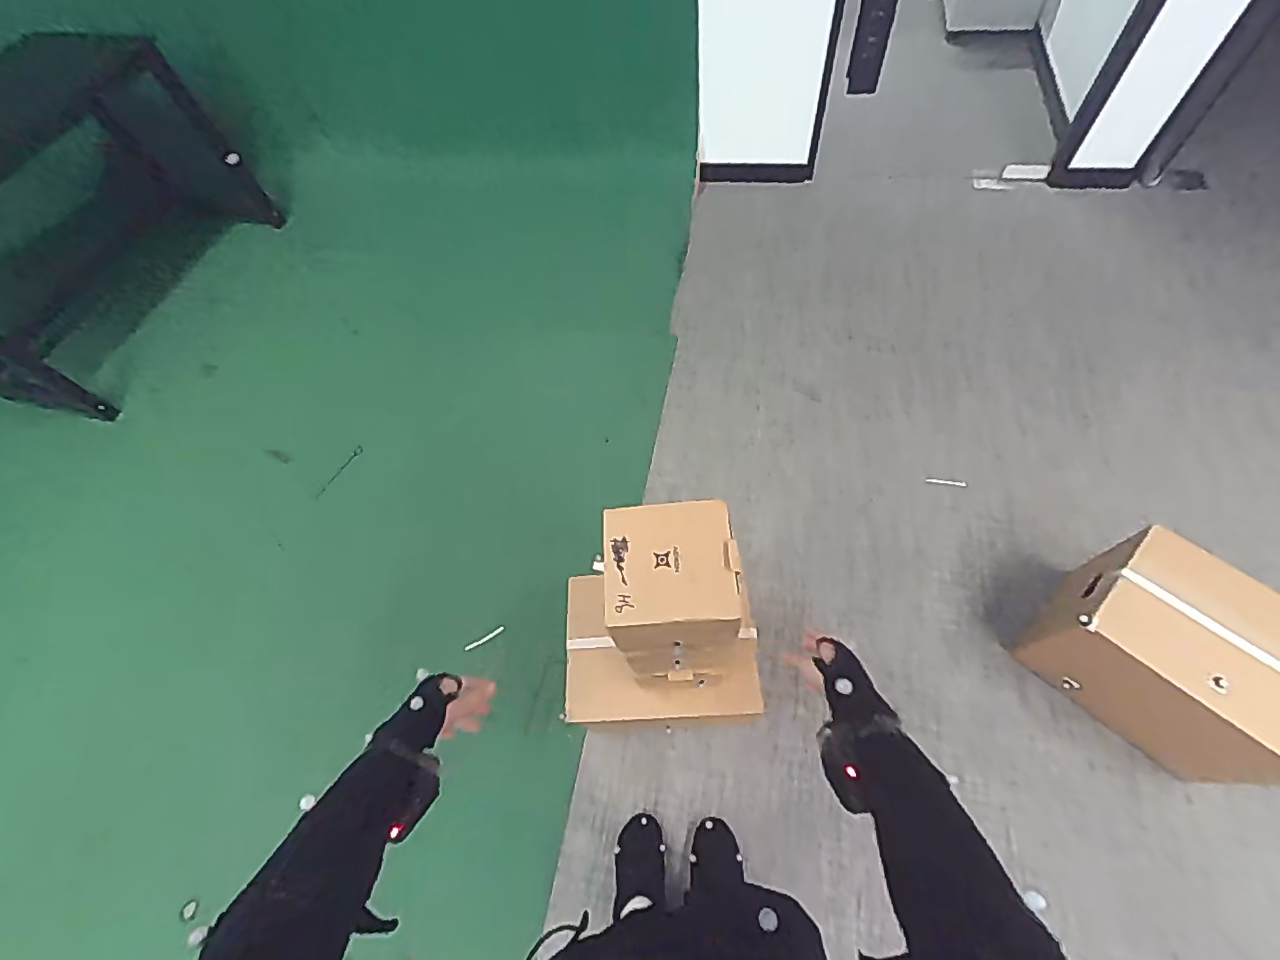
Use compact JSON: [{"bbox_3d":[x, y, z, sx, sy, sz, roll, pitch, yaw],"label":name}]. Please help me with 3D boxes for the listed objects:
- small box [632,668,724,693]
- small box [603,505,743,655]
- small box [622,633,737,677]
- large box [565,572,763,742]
[{"bbox_3d":[0.075,0.316,1.057,0.168,0.176,0.179,-4,60,4],"label":"small box"},{"bbox_3d":[0.043,0.148,0.776,0.179,0.176,0.168,-4,60,3],"label":"small box"},{"bbox_3d":[0.062,0.232,0.917,0.179,0.176,0.168,-5,60,4],"label":"small box"},{"bbox_3d":[0.057,0.430,1.276,0.408,0.320,0.320,-6,58,5],"label":"large box"}]
